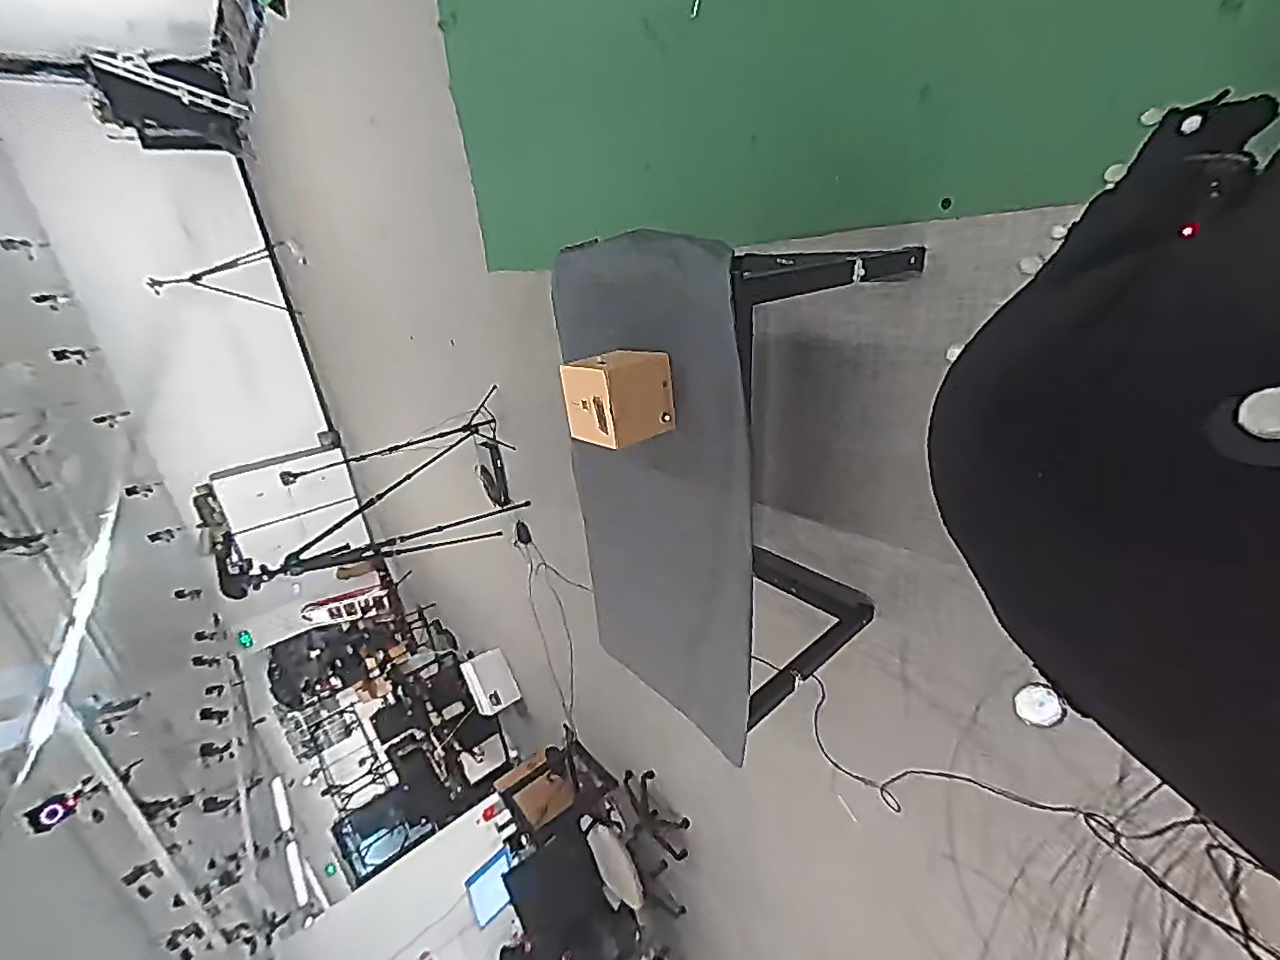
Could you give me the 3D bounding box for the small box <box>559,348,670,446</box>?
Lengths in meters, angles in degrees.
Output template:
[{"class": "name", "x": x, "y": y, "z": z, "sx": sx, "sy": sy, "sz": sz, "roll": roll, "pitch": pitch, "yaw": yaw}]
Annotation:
[{"class": "small box", "x": -0.048, "y": -0.188, "z": 1.172, "sx": 0.179, "sy": 0.176, "sz": 0.168, "roll": 19, "pitch": 124, "yaw": 49}]
